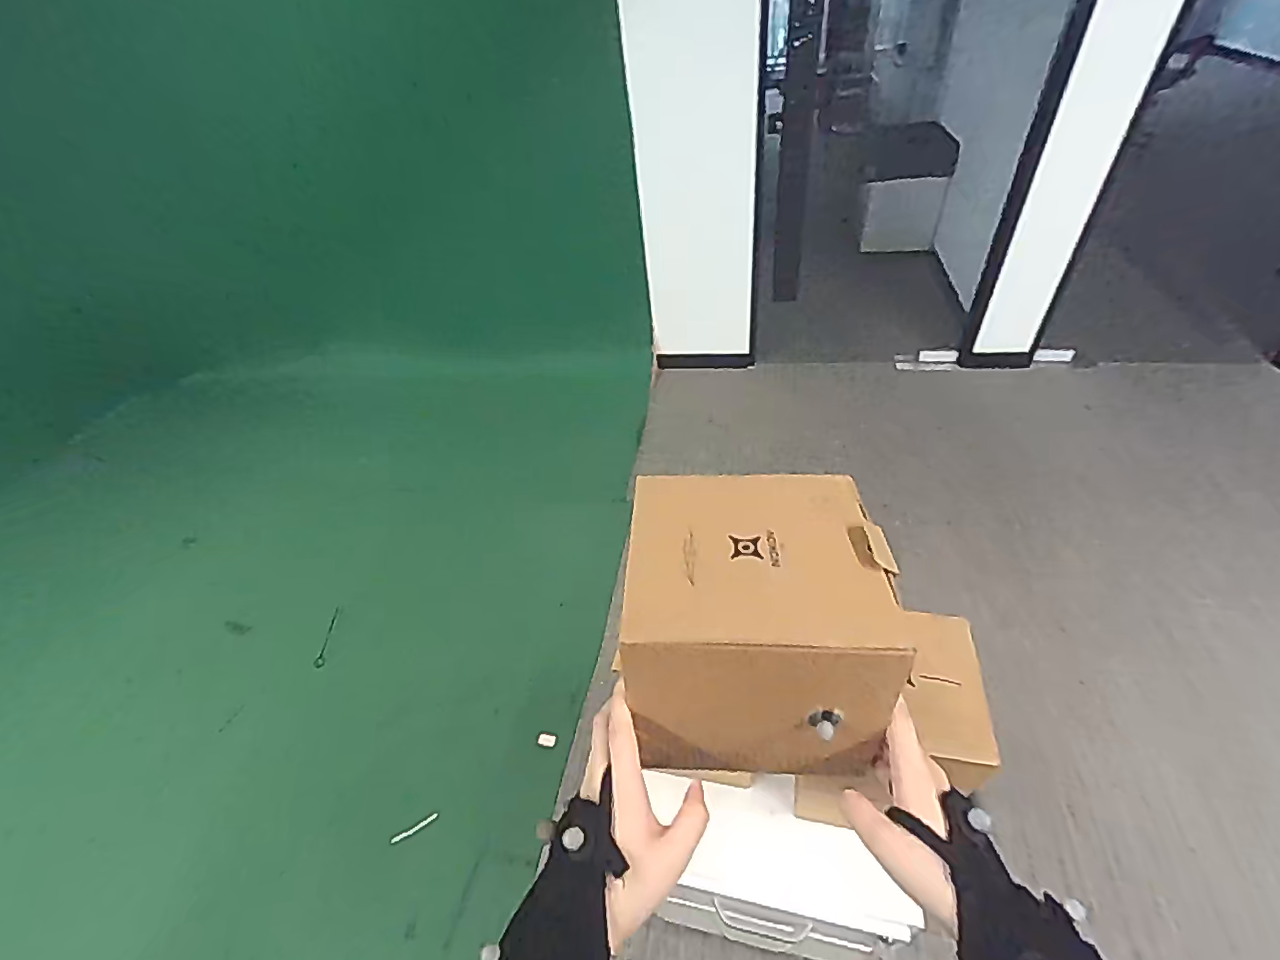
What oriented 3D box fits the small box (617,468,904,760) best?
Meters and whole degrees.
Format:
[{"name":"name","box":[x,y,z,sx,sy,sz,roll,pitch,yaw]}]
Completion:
[{"name":"small box","box":[0.083,0.106,0.439,0.179,0.176,0.168,-1,37,6]}]

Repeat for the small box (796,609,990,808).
[{"name":"small box","box":[0.283,0.269,0.651,0.179,0.176,0.168,4,45,14]}]

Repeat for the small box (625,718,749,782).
[{"name":"small box","box":[0.086,0.346,0.840,0.179,0.176,0.168,5,45,11]}]
